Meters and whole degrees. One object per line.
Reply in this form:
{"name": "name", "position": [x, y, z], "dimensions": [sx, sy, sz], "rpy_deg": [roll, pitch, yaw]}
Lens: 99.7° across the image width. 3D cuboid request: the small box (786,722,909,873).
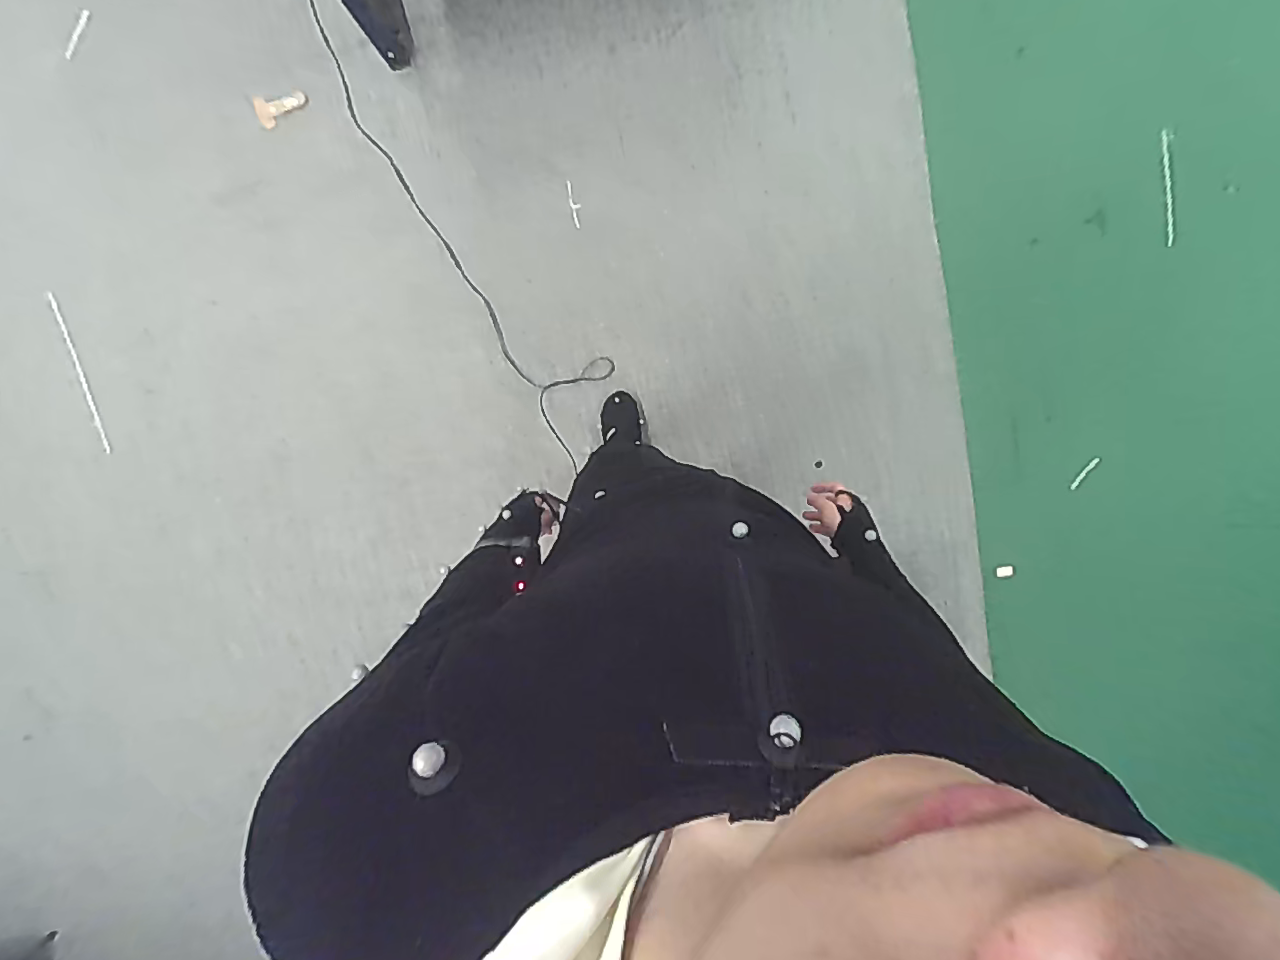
{"name": "small box", "position": [0.392, 0.603, 1.042], "dimensions": [0.168, 0.176, 0.179], "rpy_deg": [-10, 98, 1]}
